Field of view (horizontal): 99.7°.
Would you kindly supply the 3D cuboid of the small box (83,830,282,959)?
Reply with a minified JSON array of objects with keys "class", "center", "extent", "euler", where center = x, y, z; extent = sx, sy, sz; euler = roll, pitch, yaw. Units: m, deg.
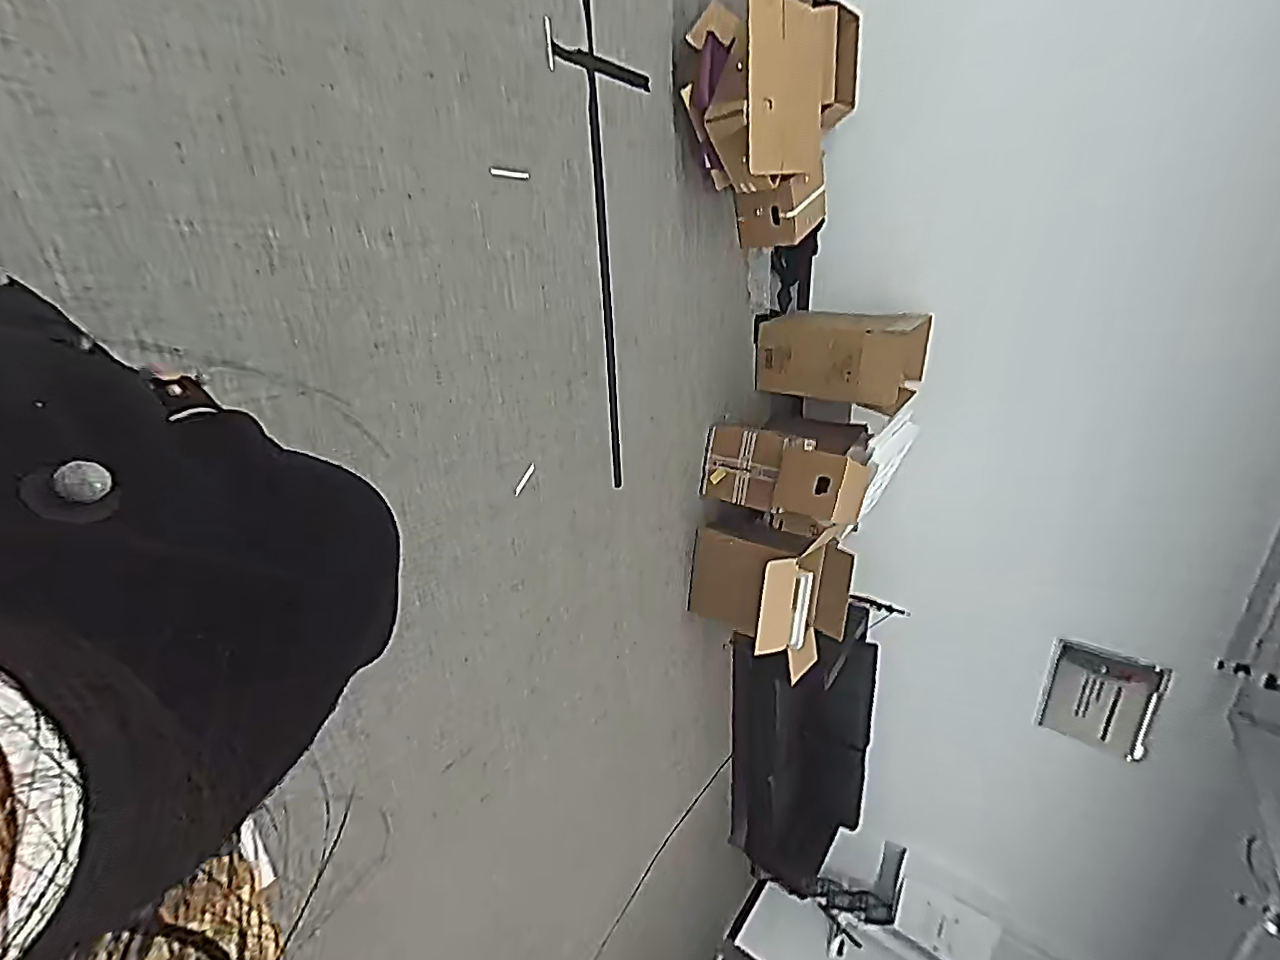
[{"class":"small box","center":[-0.646,0.644,0.768],"extent":[0.168,0.176,0.179],"euler":[-20,117,-49]}]
